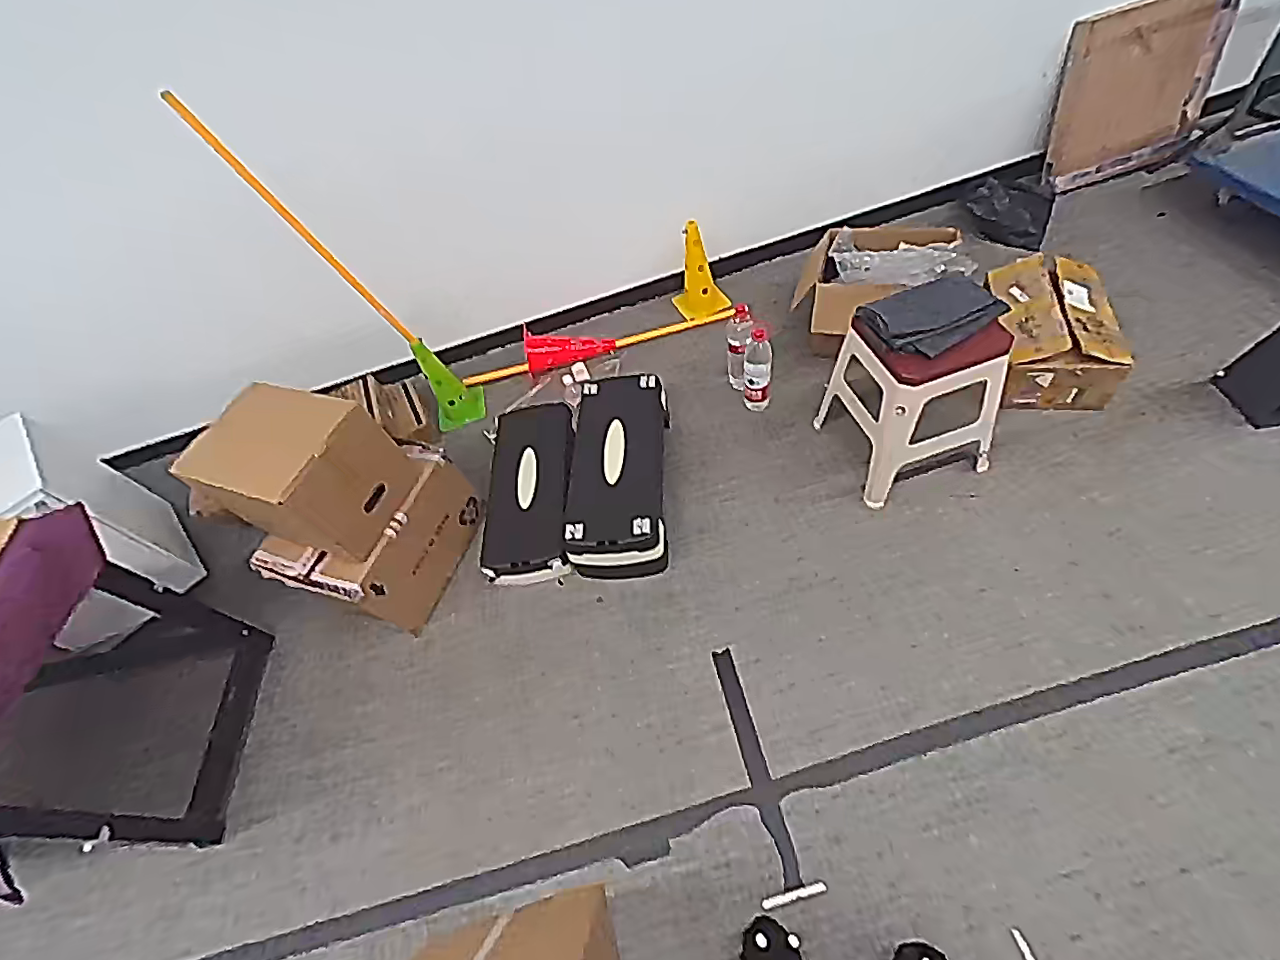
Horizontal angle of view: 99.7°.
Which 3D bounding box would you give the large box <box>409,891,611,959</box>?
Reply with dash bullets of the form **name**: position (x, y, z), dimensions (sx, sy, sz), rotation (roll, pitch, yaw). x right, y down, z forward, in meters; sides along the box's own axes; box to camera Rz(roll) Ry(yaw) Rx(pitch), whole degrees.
- **large box**: position (-0.180, 0.801, 0.670), dimensions (0.320, 0.408, 0.320), rotation (-16, 71, -4)
